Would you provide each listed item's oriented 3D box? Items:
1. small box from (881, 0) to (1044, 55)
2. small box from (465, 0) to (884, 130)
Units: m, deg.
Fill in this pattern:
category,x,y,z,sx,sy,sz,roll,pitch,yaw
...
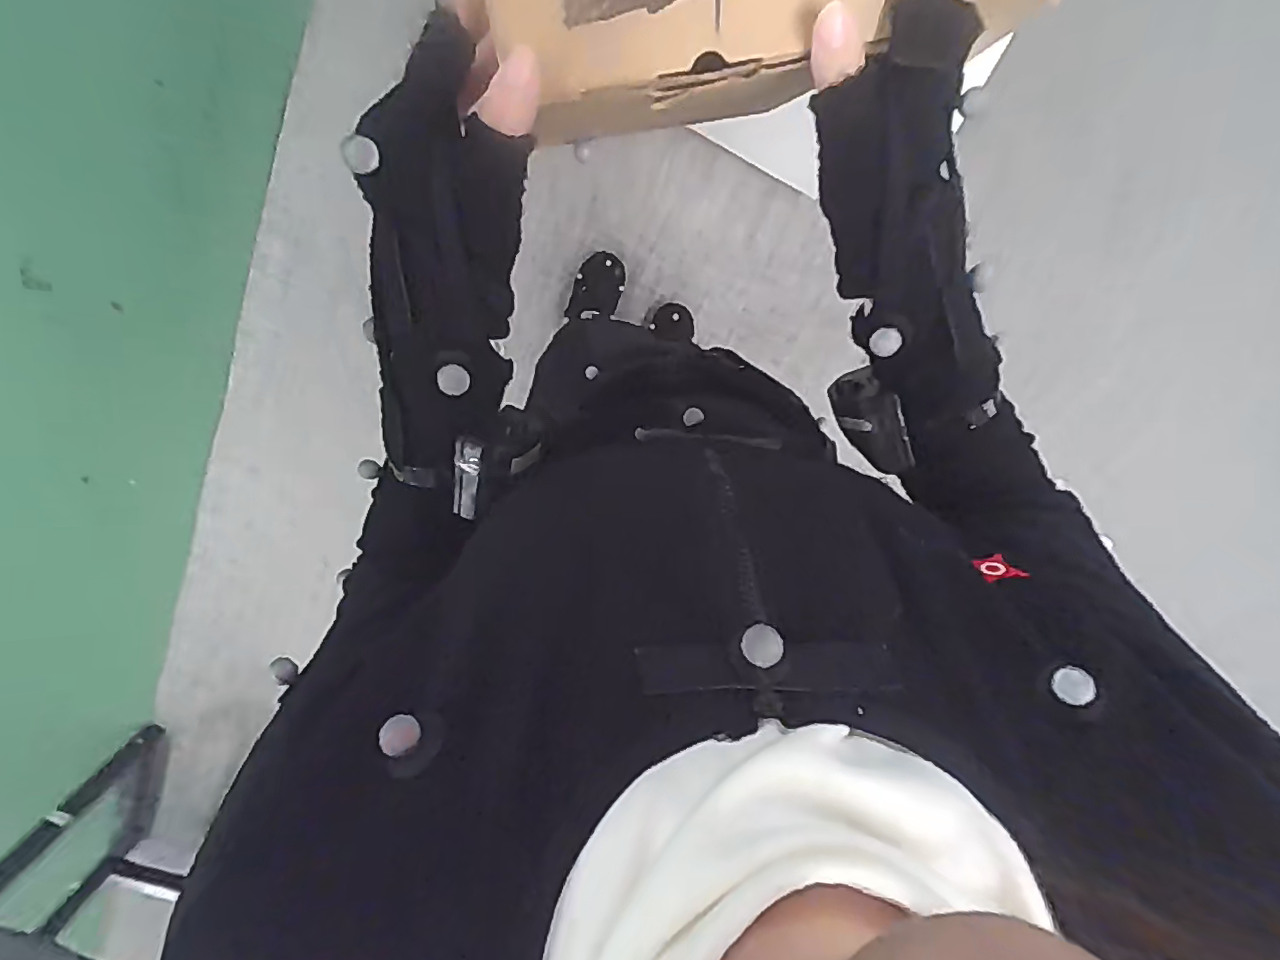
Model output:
category,x,y,z,sx,sy,sz,roll,pitch,yaw
small box,0.347,-0.583,0.535,0.168,0.176,0.179,24,108,-9
small box,-0.002,-0.279,0.251,0.168,0.176,0.179,-11,116,-1
